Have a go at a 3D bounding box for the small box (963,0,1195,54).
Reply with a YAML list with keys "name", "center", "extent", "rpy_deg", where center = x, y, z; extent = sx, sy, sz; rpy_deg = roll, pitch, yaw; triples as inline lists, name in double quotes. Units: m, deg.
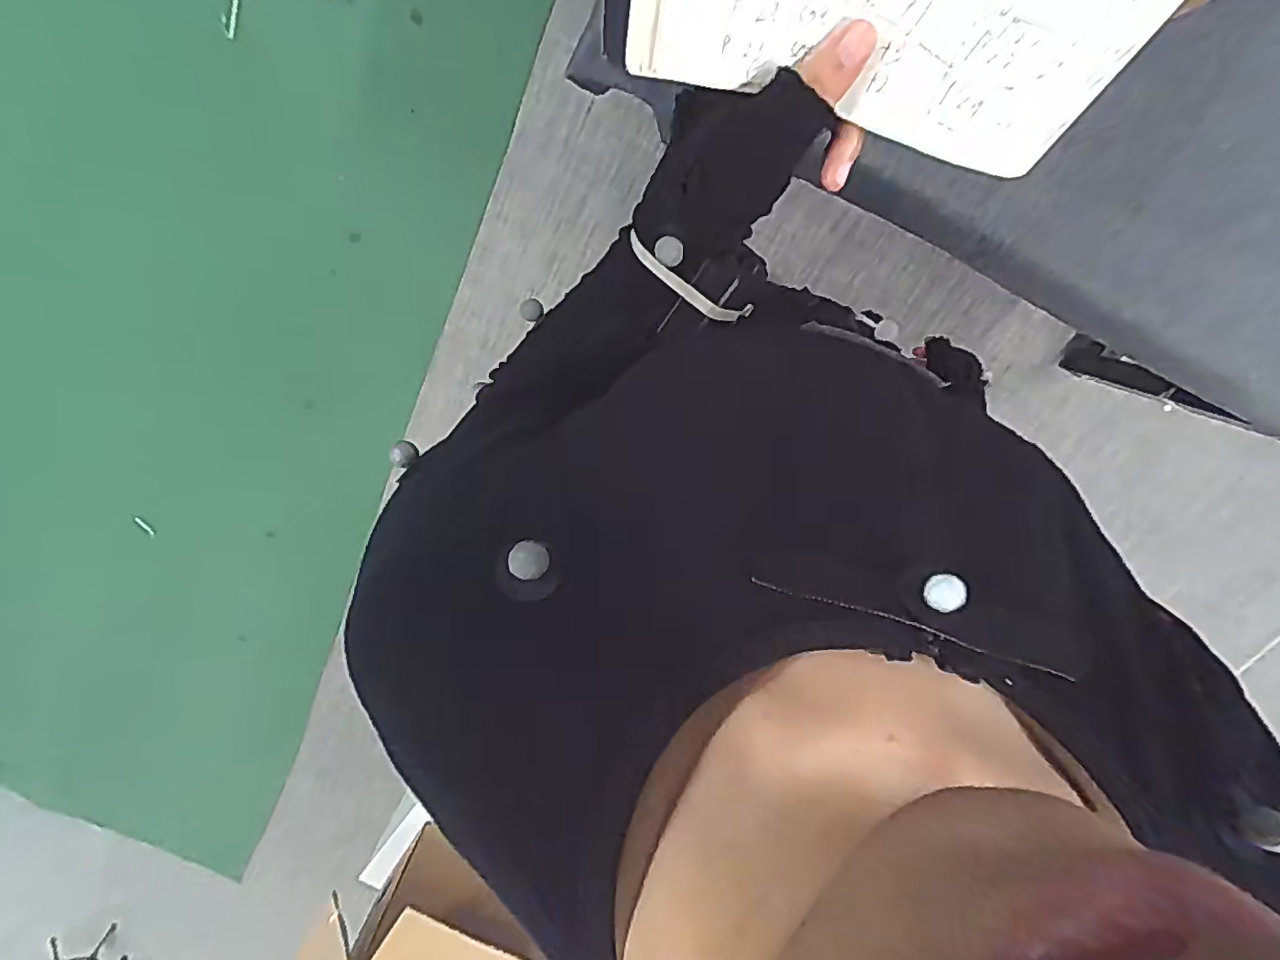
- name: "small box"
  center: [0.396, -0.497, 0.431]
  extent: [0.168, 0.176, 0.179]
  rpy_deg: [22, 112, -4]
